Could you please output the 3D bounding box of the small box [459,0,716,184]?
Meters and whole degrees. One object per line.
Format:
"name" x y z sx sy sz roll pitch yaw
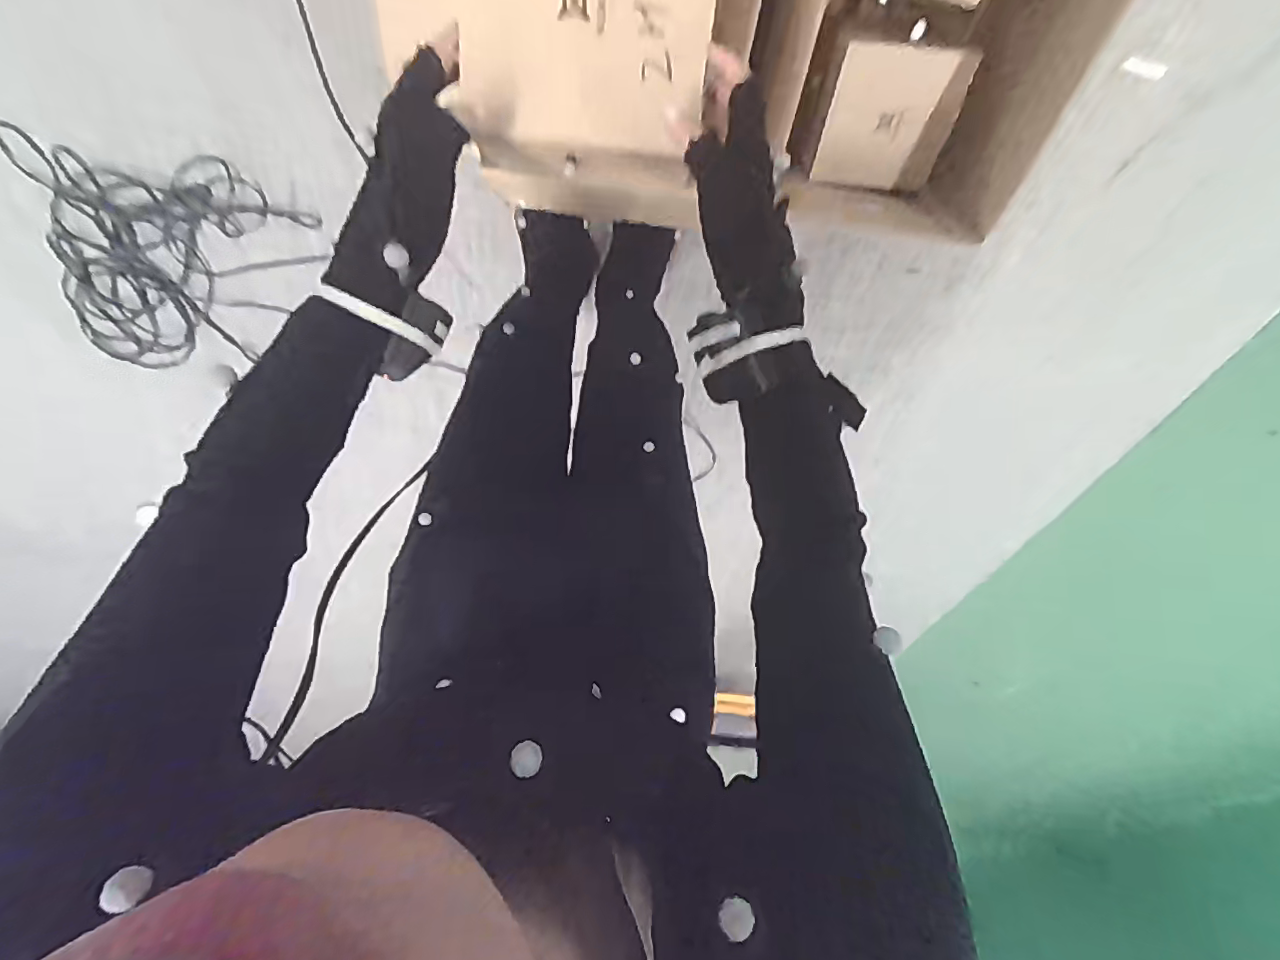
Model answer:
"small box" -0.037 -0.351 0.442 0.179 0.176 0.168 4 111 -3
